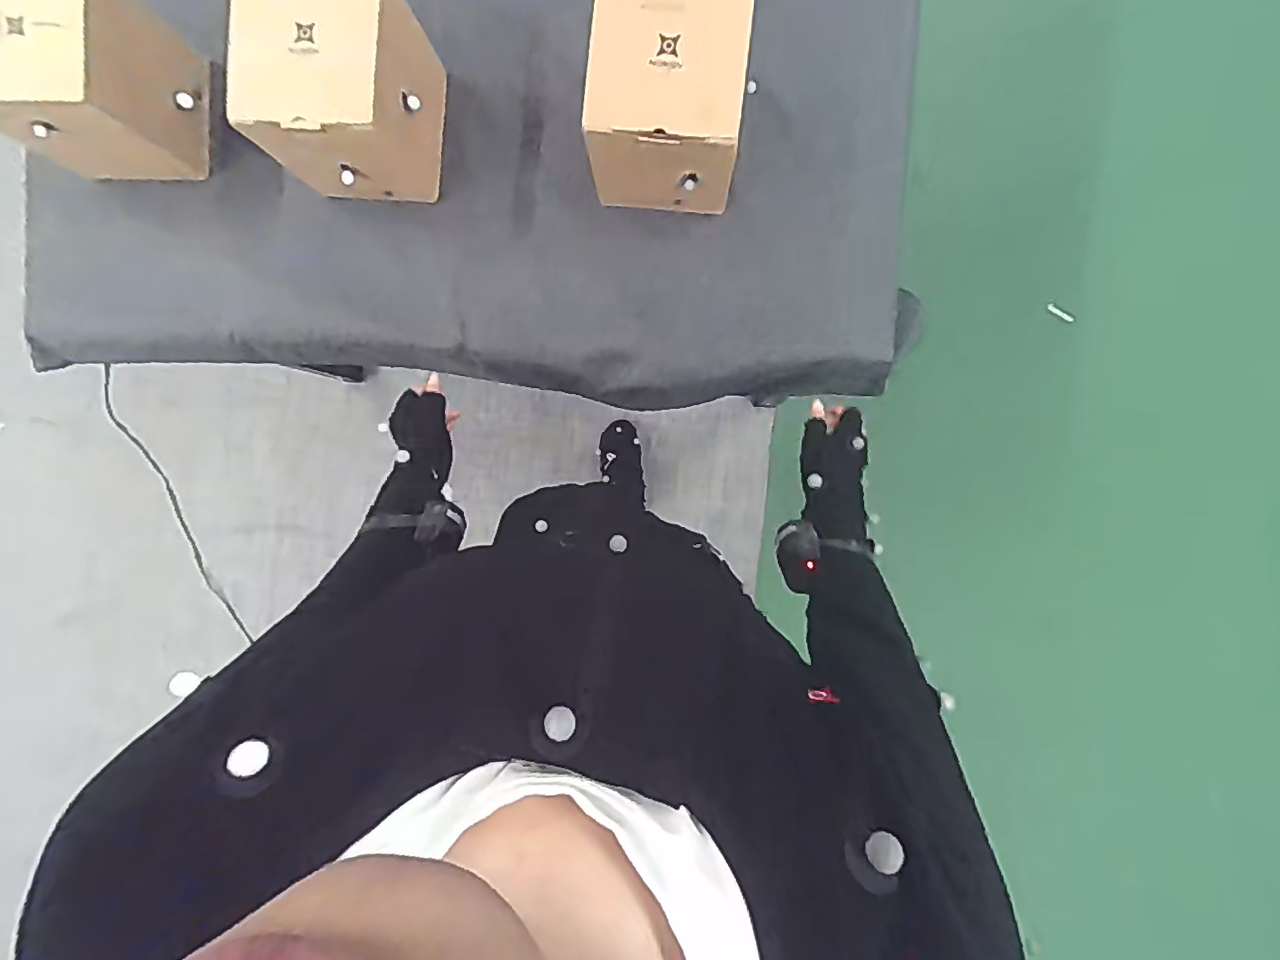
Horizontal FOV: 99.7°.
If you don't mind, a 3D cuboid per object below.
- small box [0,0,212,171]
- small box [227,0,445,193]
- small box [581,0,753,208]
[{"bbox_3d":[-0.679,-0.505,0.664,0.179,0.176,0.168,2,93,2],"label":"small box"},{"bbox_3d":[-0.350,-0.472,0.651,0.168,0.176,0.179,5,93,3],"label":"small box"},{"bbox_3d":[0.032,-0.446,0.634,0.168,0.176,0.179,6,91,2],"label":"small box"}]
